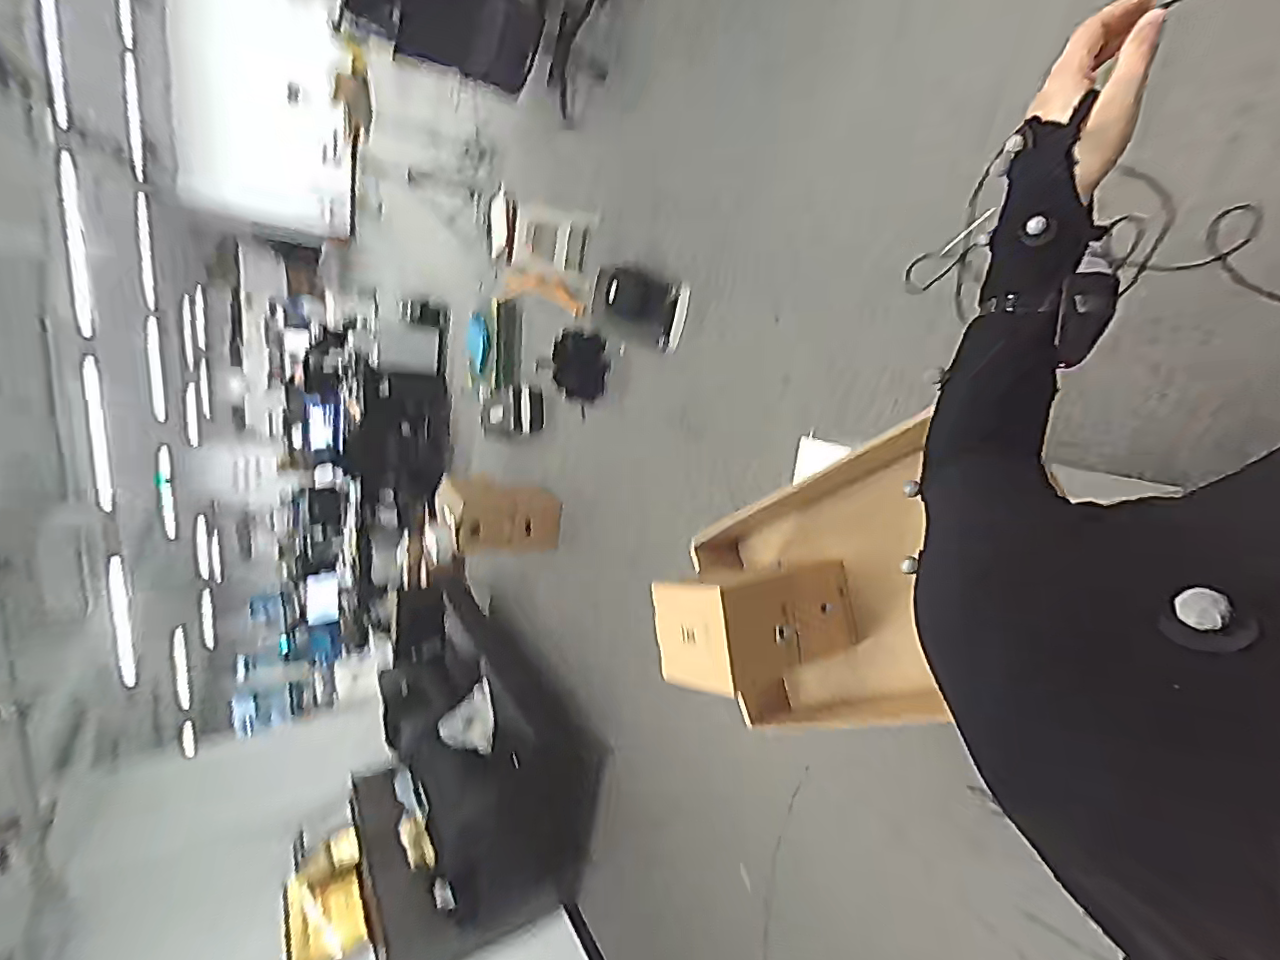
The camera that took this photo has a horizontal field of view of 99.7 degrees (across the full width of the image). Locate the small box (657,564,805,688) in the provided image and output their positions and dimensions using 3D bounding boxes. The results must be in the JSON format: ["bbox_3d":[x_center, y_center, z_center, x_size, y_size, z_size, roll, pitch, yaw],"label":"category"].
[{"bbox_3d":[0.156,0.242,0.938,0.179,0.176,0.168,-14,84,53],"label":"small box"}]
